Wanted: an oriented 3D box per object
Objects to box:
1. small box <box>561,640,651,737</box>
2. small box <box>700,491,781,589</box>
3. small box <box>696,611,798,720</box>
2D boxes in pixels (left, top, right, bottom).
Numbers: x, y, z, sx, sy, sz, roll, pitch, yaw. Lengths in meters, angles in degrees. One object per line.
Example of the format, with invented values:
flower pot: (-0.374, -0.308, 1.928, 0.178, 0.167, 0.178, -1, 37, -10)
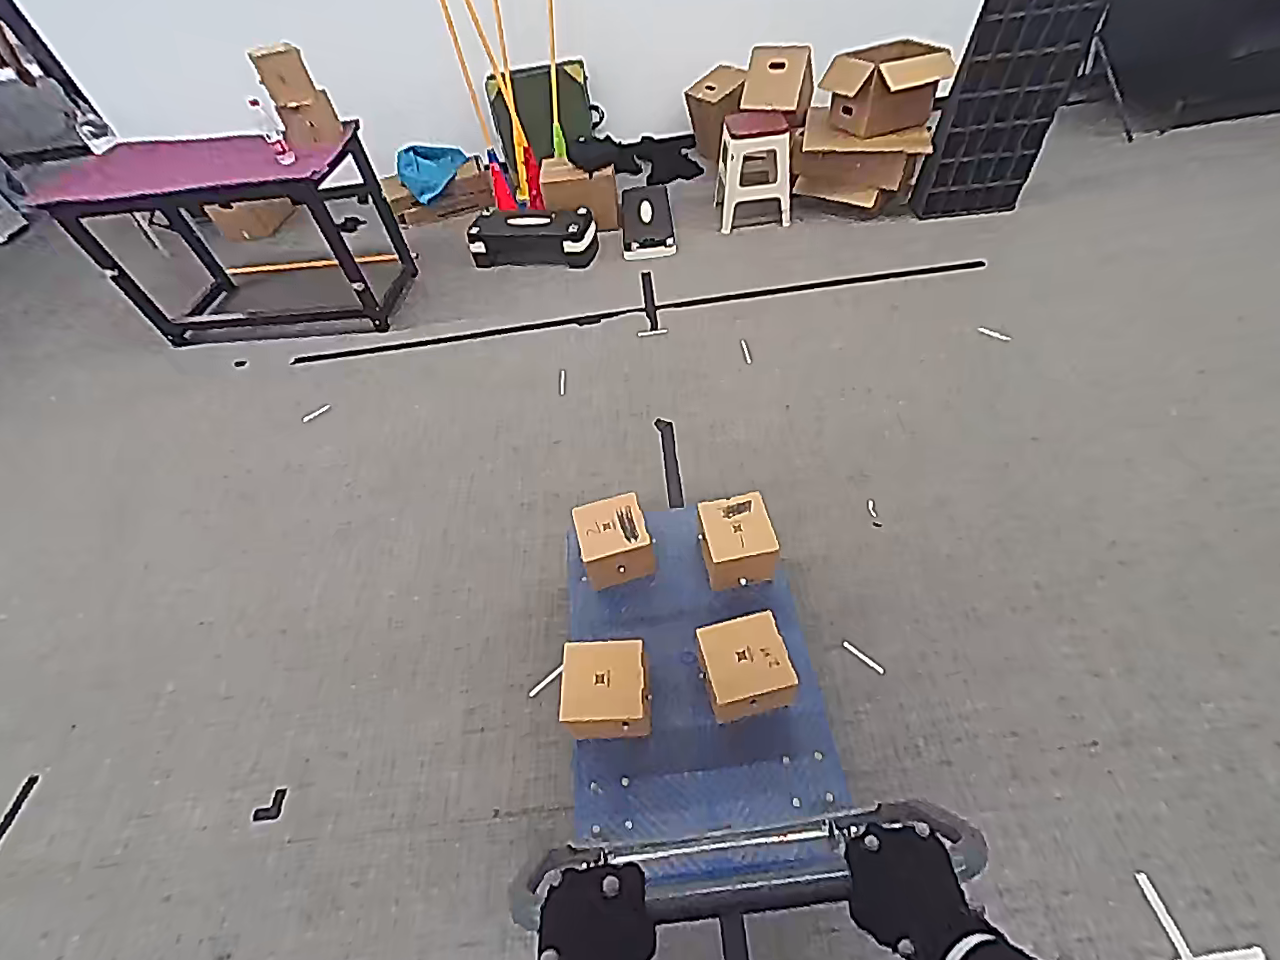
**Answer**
small box: (-0.070, 0.469, 1.210, 0.179, 0.176, 0.168, -3, 53, 3)
small box: (0.250, 0.158, 1.394, 0.168, 0.176, 0.179, -11, 54, -1)
small box: (0.234, 0.418, 1.207, 0.179, 0.176, 0.168, -14, 54, -2)
